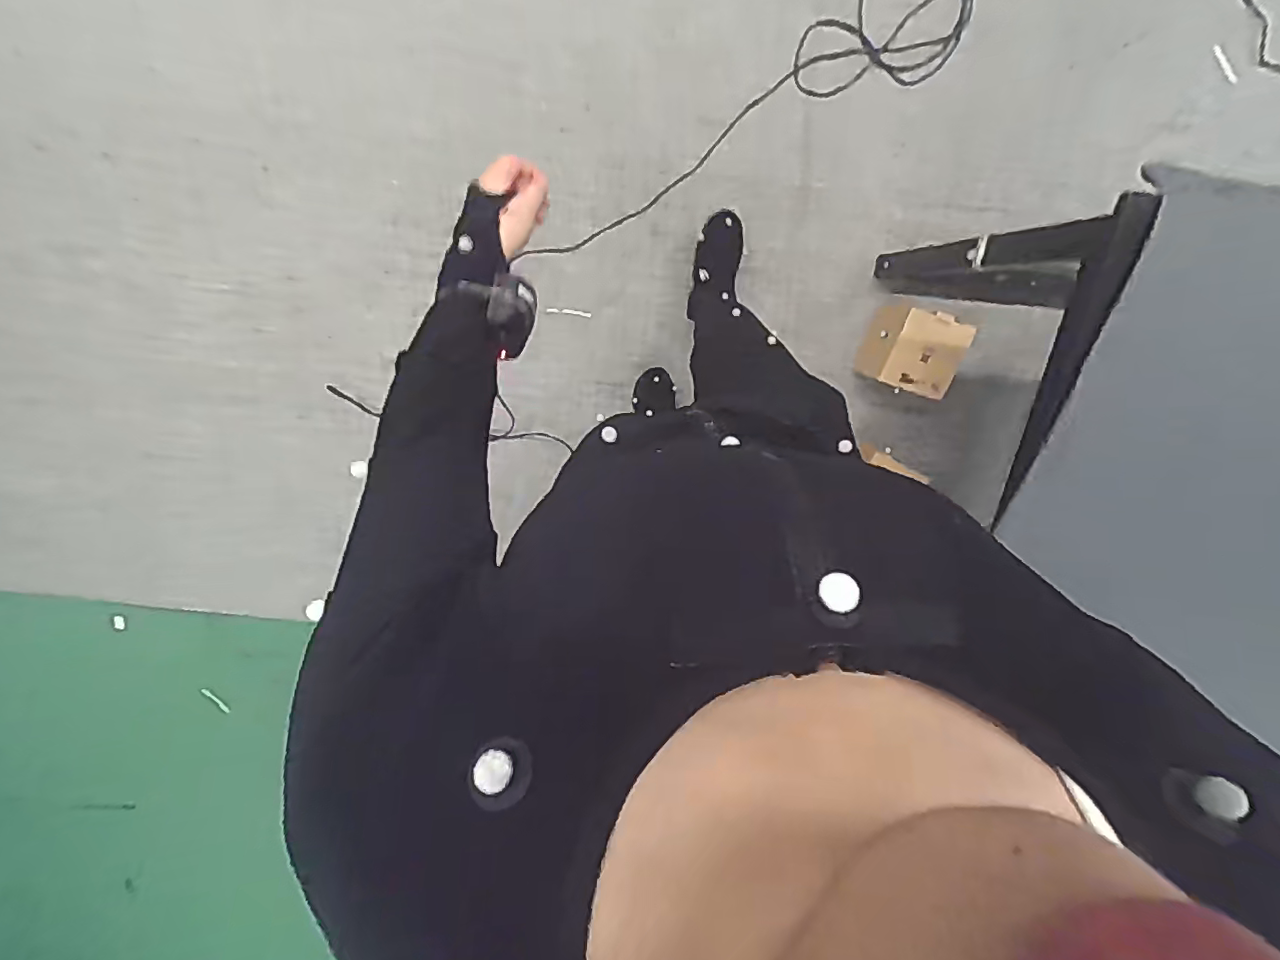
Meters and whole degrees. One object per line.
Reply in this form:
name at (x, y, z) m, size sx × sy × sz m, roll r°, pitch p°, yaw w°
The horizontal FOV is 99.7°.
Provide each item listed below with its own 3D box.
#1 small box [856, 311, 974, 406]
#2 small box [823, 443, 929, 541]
small box at (0.654, -0.300, 1.313) m, size 0.168 × 0.176 × 0.179 m, roll 17°, pitch 107°, yaw -5°
small box at (0.605, 0.027, 1.420) m, size 0.168 × 0.176 × 0.179 m, roll 25°, pitch 105°, yaw -8°
